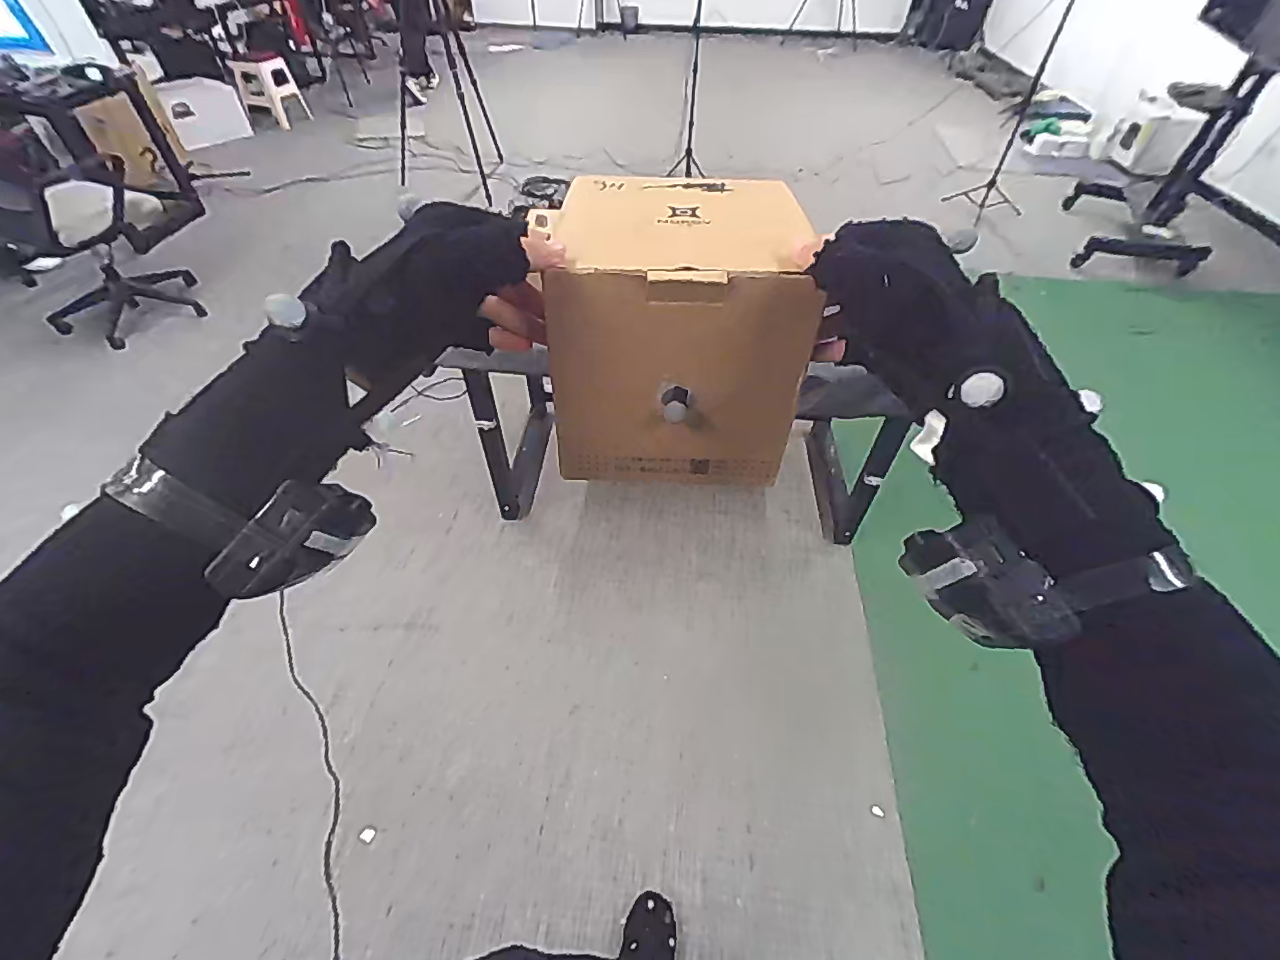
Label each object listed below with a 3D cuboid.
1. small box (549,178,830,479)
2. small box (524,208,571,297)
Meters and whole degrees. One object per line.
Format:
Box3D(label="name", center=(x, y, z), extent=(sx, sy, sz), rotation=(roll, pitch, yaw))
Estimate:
Box3D(label="small box", center=(0.032, -0.117, 0.423), extent=(0.168, 0.176, 0.179), rotation=(3, 45, 1))
Box3D(label="small box", center=(-0.192, -0.585, 1.406), extent=(0.179, 0.176, 0.168), rotation=(4, 48, 0))
